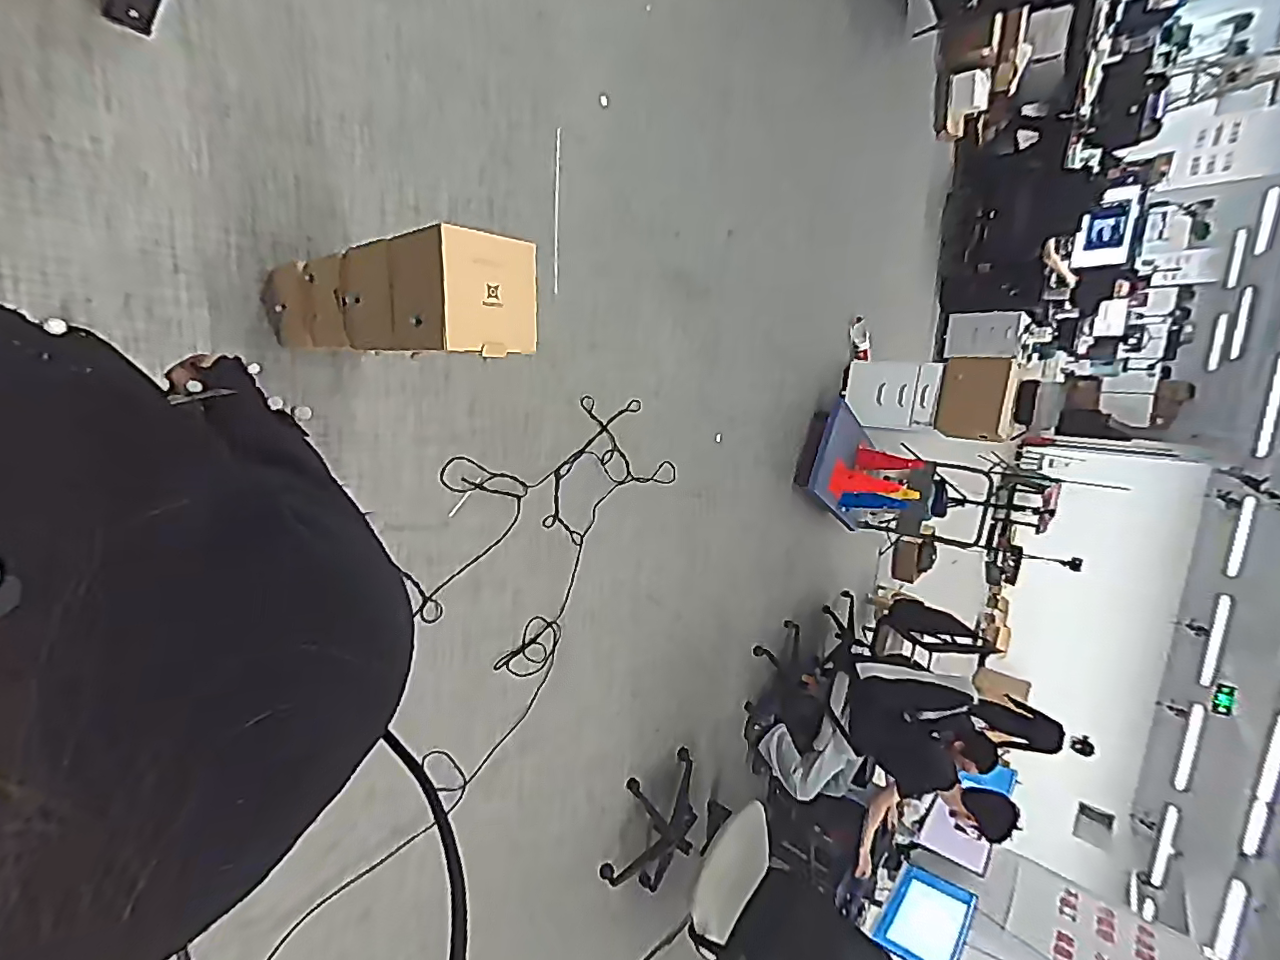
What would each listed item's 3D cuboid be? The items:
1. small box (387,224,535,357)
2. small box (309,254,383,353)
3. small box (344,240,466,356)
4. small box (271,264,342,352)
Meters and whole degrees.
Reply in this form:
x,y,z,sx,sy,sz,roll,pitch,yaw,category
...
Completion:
x,y,z,sx,sy,sz,roll,pitch,yaw,category
-0.287,-0.290,0.869,0.168,0.176,0.179,-12,107,-48,small box
-0.535,-0.340,1.075,0.179,0.176,0.168,-14,109,-48,small box
-0.411,-0.317,0.972,0.168,0.176,0.179,-13,109,-47,small box
-0.666,-0.364,1.173,0.179,0.176,0.168,-14,108,-46,small box
